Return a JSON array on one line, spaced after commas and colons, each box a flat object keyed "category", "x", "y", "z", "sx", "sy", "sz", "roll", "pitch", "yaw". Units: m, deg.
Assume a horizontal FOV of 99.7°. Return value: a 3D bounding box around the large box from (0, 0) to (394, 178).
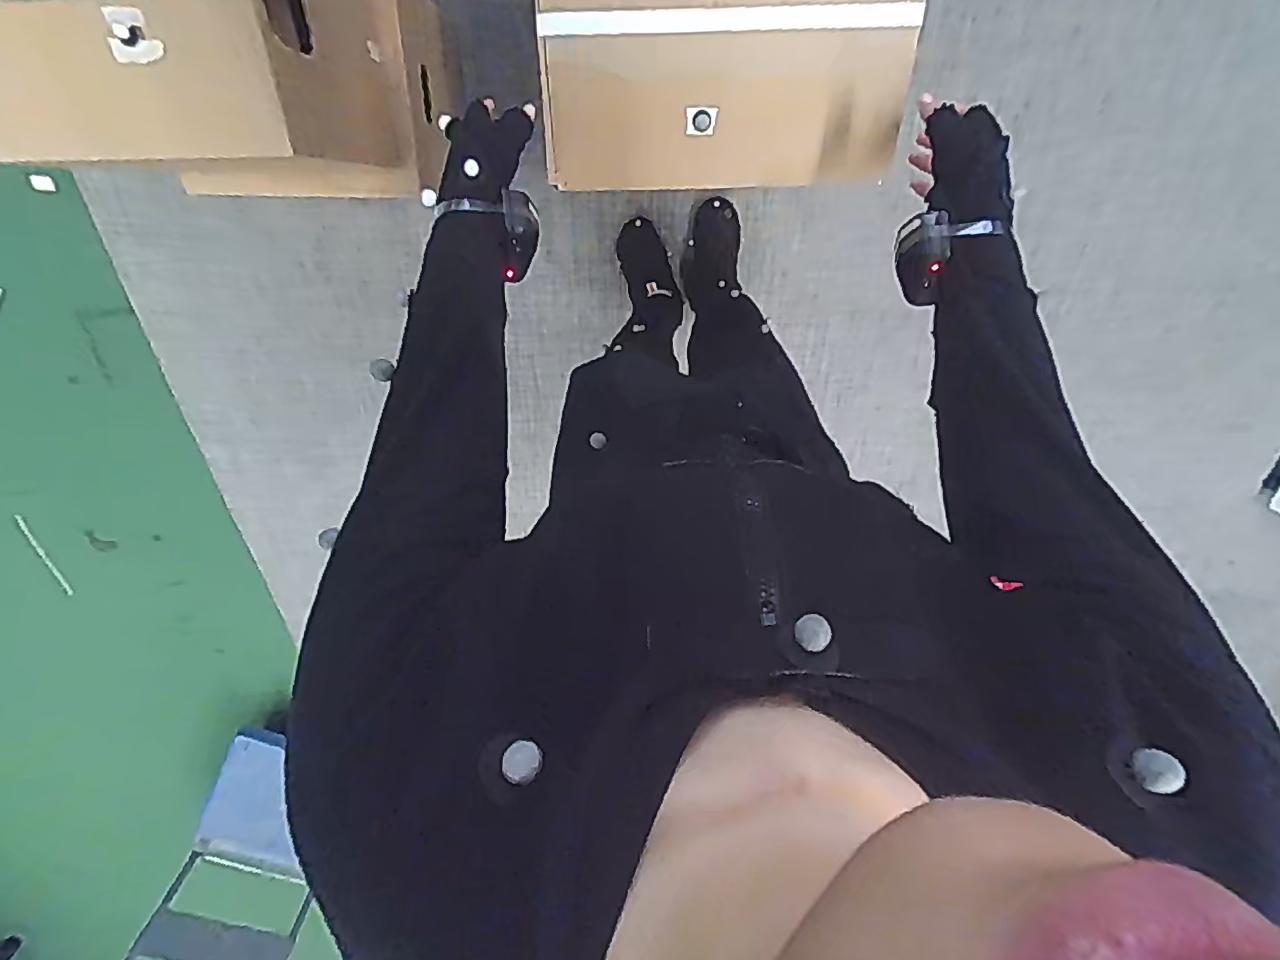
[{"category": "large box", "x": -0.599, "y": -0.580, "z": 0.692, "sx": 0.408, "sy": 0.320, "sz": 0.320, "roll": -1, "pitch": 116, "yaw": -1}]
